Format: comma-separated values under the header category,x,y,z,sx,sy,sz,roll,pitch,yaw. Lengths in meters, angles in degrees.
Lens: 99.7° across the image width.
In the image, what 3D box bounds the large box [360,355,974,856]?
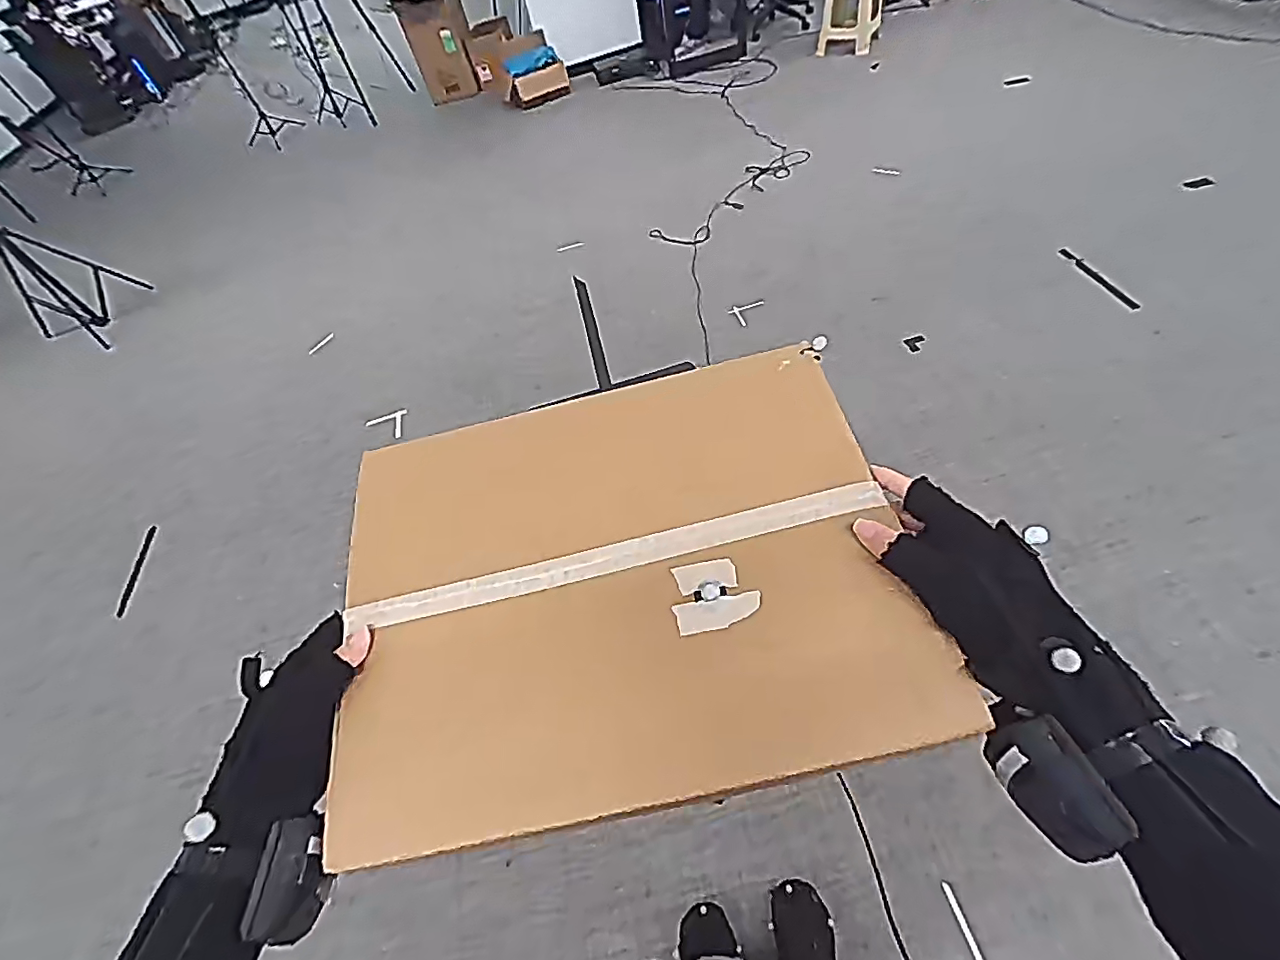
category,x,y,z,sx,sy,sz,roll,pitch,yaw
large box,0.007,0.136,0.538,0.408,0.320,0.320,-14,59,2
